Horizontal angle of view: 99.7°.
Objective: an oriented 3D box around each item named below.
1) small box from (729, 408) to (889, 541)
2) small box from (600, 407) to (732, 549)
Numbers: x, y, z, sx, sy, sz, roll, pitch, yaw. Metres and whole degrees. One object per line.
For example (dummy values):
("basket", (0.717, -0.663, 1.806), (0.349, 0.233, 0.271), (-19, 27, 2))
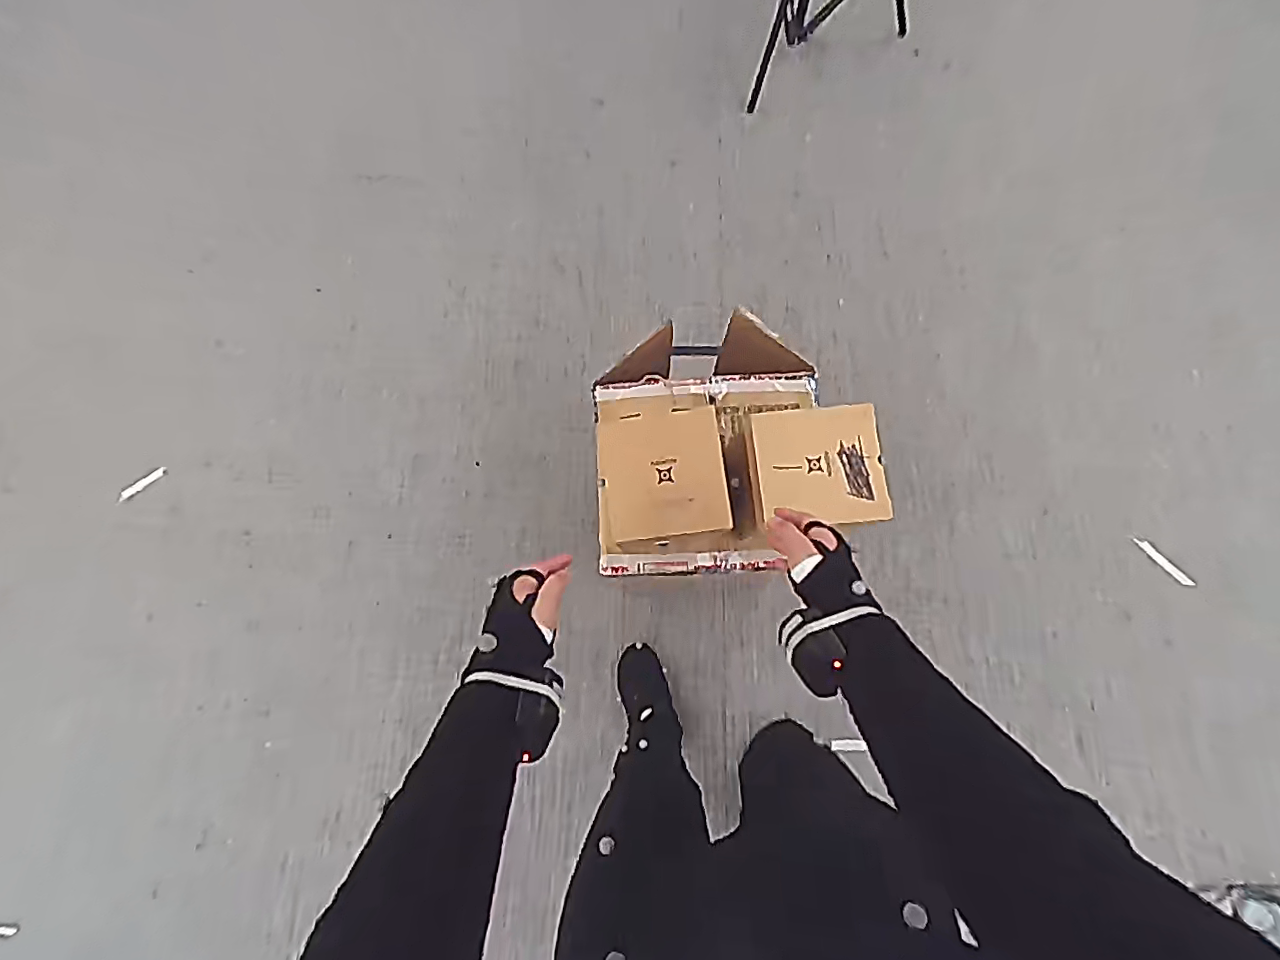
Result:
("small box", (0.242, -0.001, 0.817), (0.179, 0.176, 0.168), (-5, 79, -1))
("small box", (0.035, 0.006, 0.819), (0.168, 0.176, 0.179), (-8, 81, 1))
